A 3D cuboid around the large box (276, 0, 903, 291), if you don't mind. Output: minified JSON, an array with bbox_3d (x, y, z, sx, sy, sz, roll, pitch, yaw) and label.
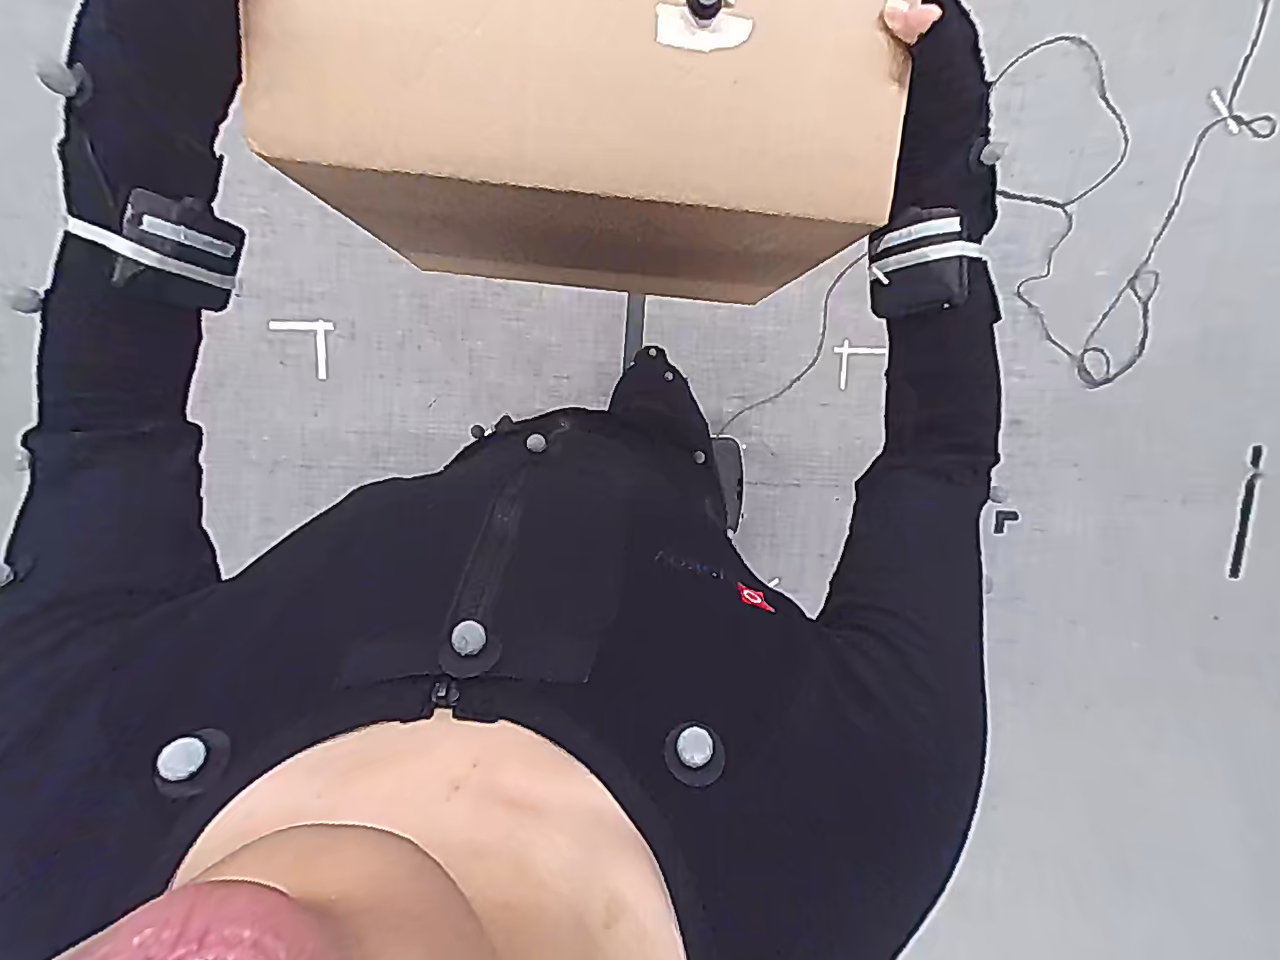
[{"bbox_3d":[-0.033,-0.370,0.484,0.408,0.320,0.320,4,99,-5],"label":"large box"}]

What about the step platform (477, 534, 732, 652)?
[{"bbox_3d":[-0.093,0.307,1.485,0.684,0.204,0.286,1,95,0],"label":"step platform"}]
